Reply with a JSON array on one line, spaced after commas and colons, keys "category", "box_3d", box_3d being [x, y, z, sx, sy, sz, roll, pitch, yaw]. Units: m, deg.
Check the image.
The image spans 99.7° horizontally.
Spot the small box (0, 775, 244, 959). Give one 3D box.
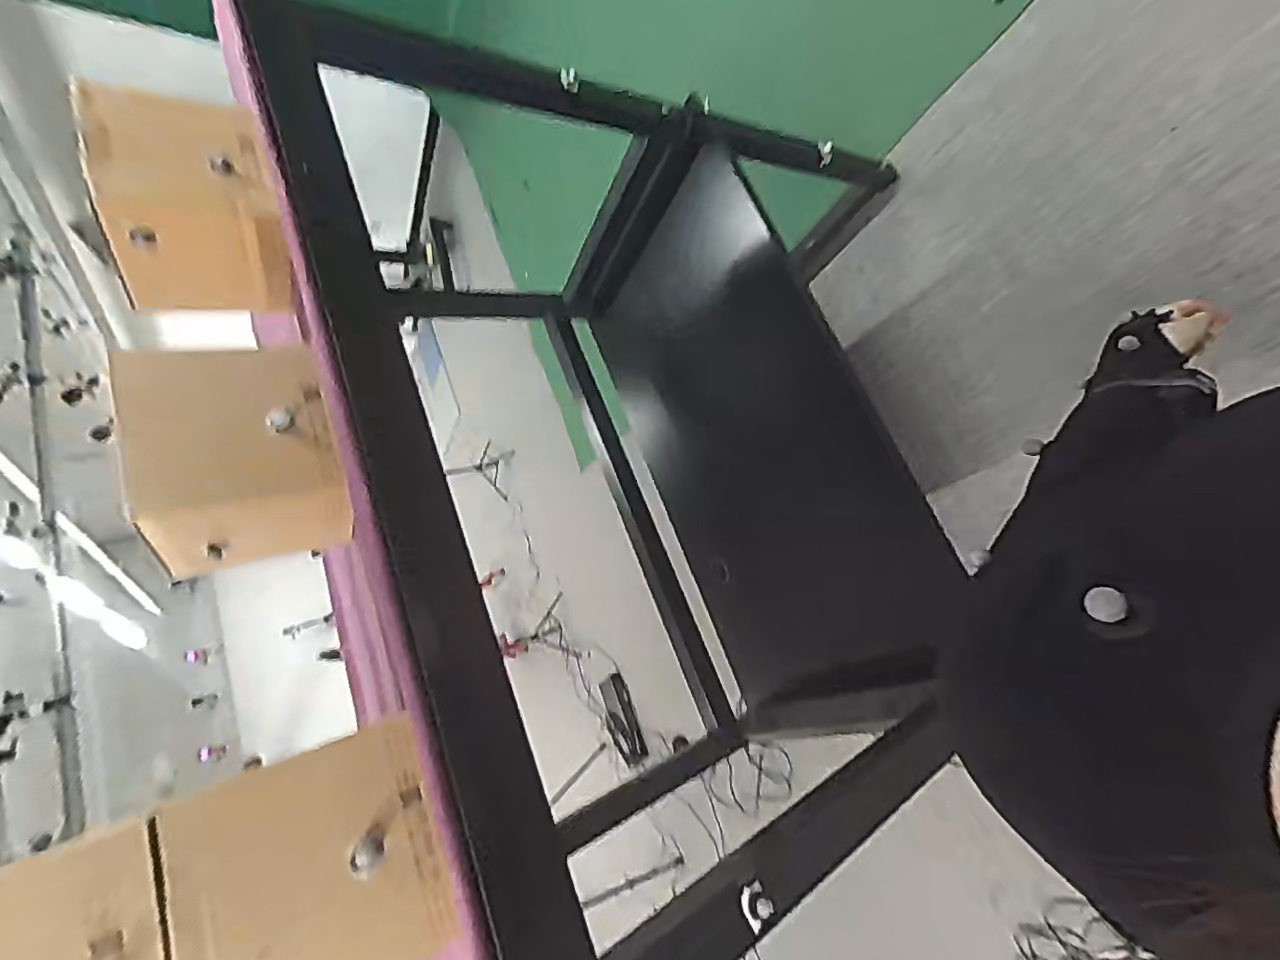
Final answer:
[{"category": "small box", "box_3d": [-0.369, 0.332, 0.381, 0.179, 0.176, 0.168, -40, 68, 54]}]

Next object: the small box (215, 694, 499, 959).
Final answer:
[{"category": "small box", "box_3d": [-0.235, 0.303, 0.469, 0.179, 0.176, 0.168, -44, 65, 53]}]

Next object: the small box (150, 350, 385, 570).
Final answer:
[{"category": "small box", "box_3d": [-0.384, -0.022, 0.578, 0.179, 0.176, 0.168, -41, 67, 52]}]

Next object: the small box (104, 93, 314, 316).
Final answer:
[{"category": "small box", "box_3d": [-0.514, -0.321, 0.669, 0.179, 0.176, 0.168, -39, 69, 52]}]
